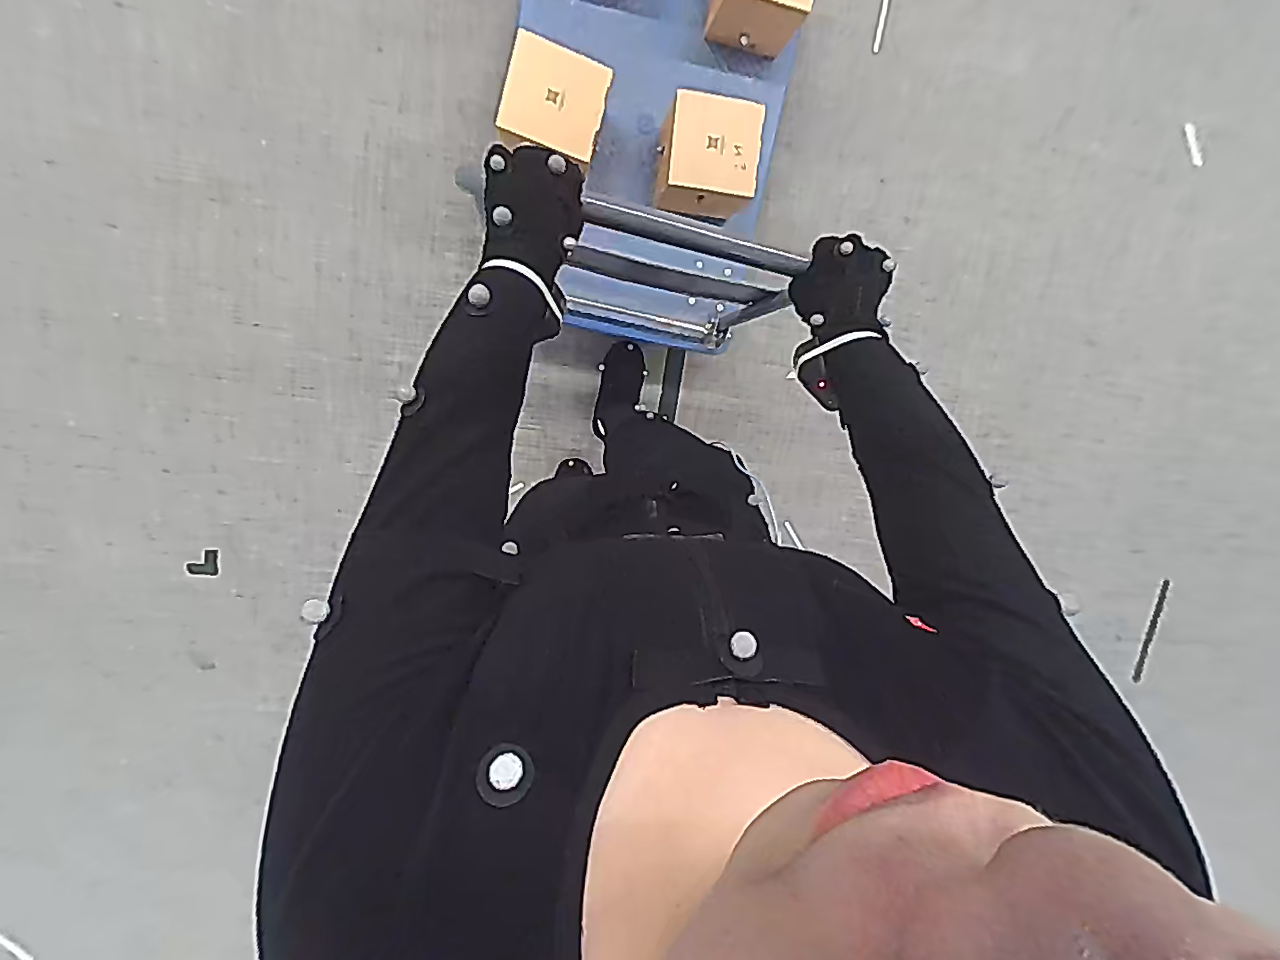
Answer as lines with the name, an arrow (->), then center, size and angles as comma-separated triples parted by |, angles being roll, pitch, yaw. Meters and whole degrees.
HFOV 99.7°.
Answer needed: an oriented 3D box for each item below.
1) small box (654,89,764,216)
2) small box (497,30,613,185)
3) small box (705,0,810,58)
small box -> 0.131, -0.656, 1.107 | 0.179, 0.176, 0.168 | 4, 102, -10
small box -> -0.166, -0.703, 1.048 | 0.179, 0.176, 0.168 | 15, 99, -14
small box -> 0.236, -0.980, 1.052 | 0.168, 0.176, 0.179 | 8, 102, -10
